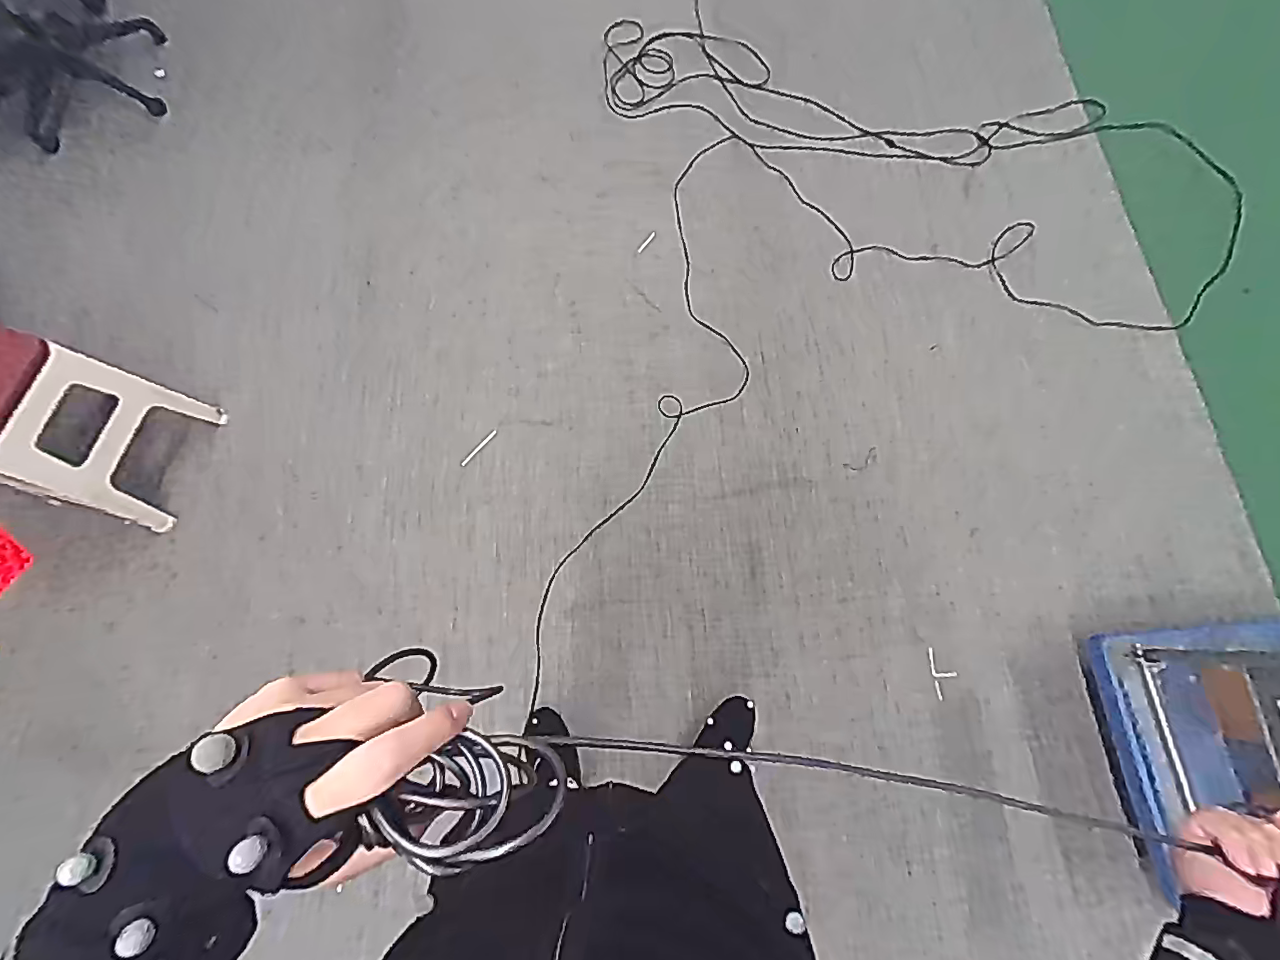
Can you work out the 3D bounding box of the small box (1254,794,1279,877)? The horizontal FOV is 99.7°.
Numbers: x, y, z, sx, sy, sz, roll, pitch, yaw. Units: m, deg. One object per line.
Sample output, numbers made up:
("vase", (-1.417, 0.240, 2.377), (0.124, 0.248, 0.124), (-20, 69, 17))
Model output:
("small box", (1.424, 0.739, 1.081), (0.179, 0.176, 0.168), (-3, 73, 0))
